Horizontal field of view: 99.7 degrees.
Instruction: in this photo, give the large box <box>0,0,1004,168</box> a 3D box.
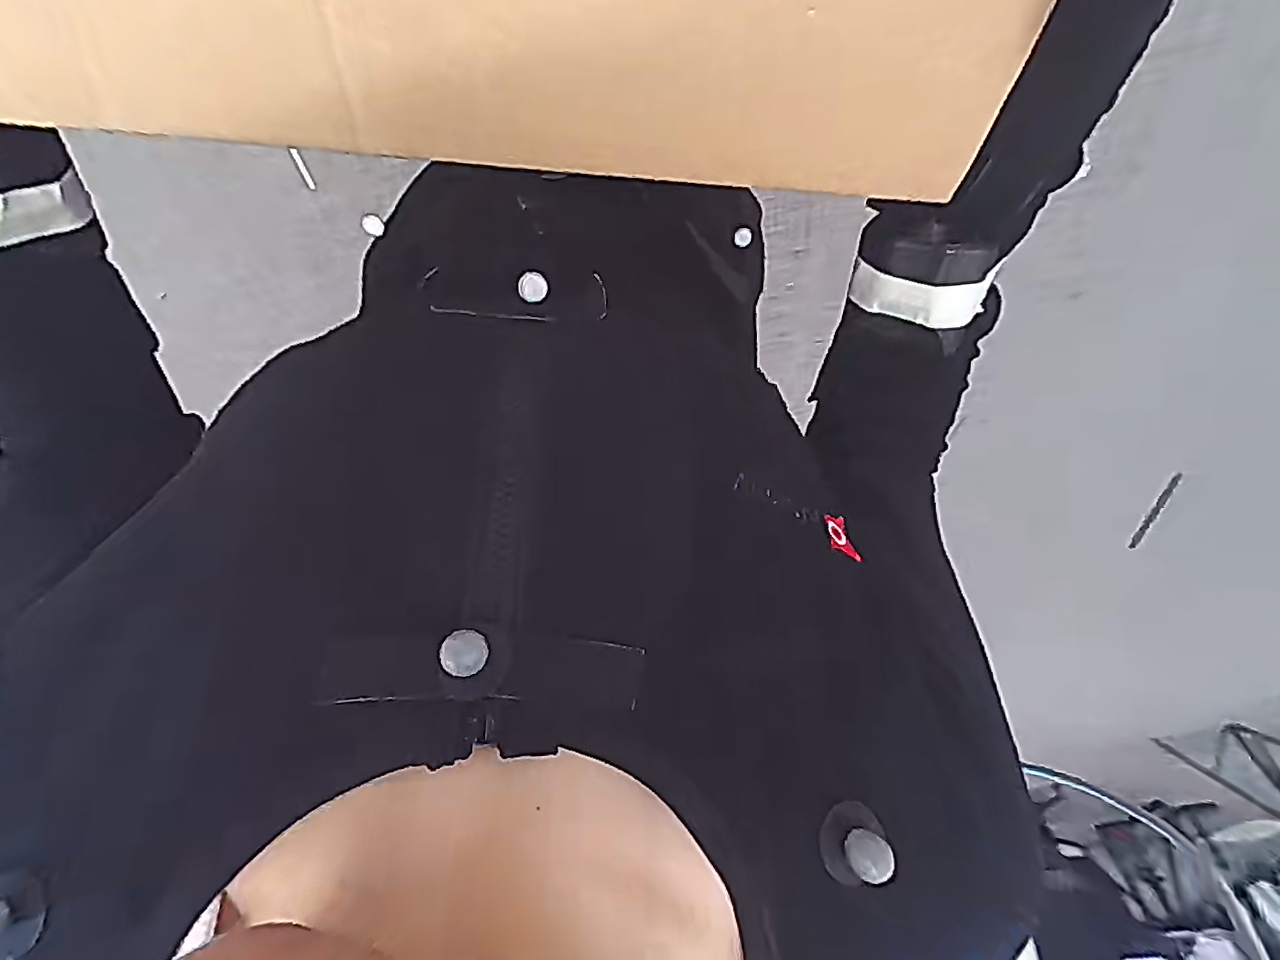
[{"bbox_3d":[-0.065,-0.349,0.190,0.408,0.320,0.320,1,141,-5],"label":"large box"}]
